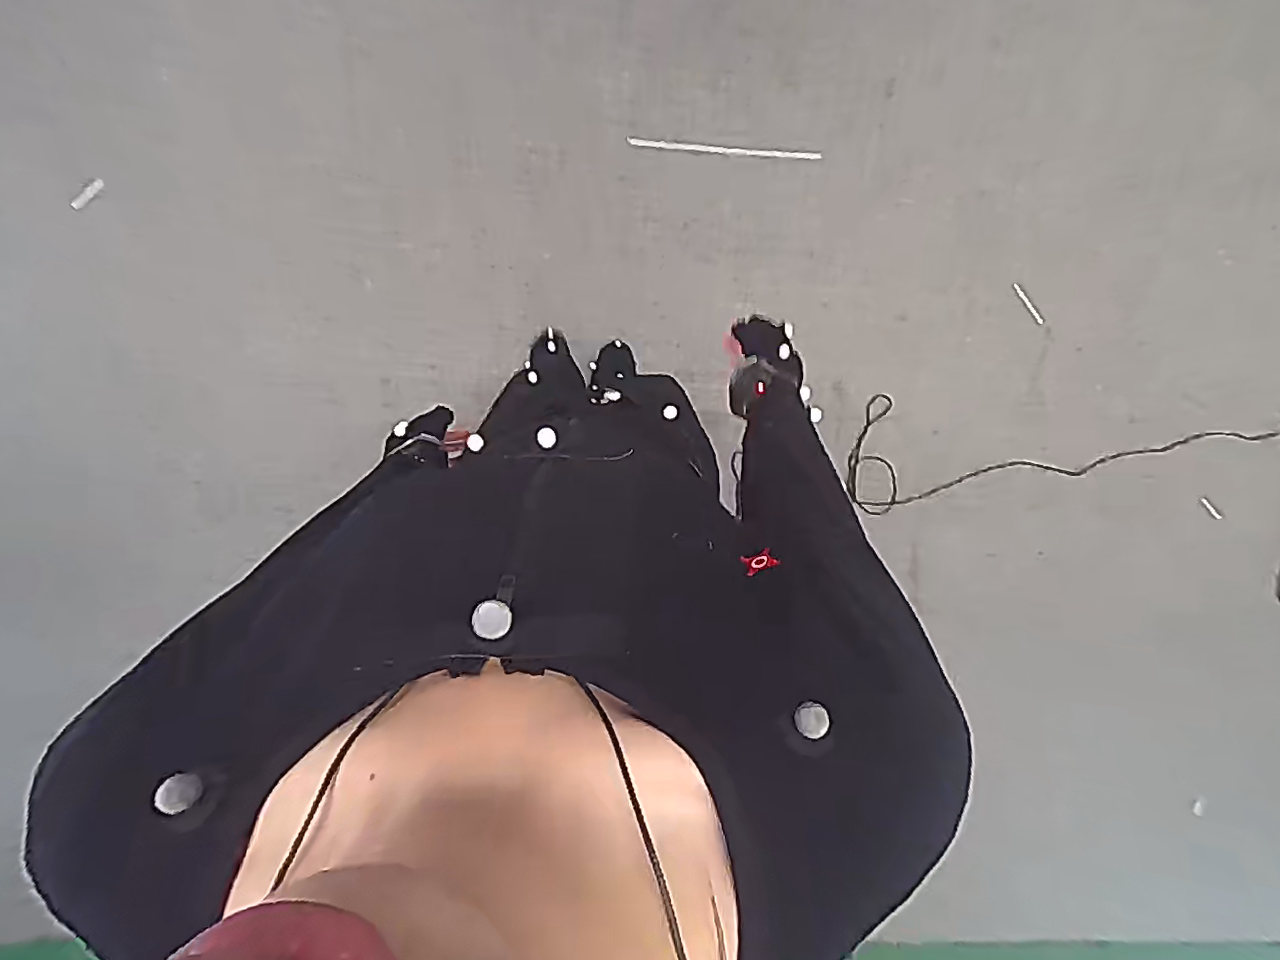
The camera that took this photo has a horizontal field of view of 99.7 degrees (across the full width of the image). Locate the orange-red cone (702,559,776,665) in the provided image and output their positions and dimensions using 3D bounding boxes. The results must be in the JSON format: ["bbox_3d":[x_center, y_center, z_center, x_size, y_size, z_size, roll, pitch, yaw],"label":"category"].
[{"bbox_3d":[0.297,0.378,1.434,0.198,0.360,0.199,8,104,-3],"label":"orange-red cone"}]
